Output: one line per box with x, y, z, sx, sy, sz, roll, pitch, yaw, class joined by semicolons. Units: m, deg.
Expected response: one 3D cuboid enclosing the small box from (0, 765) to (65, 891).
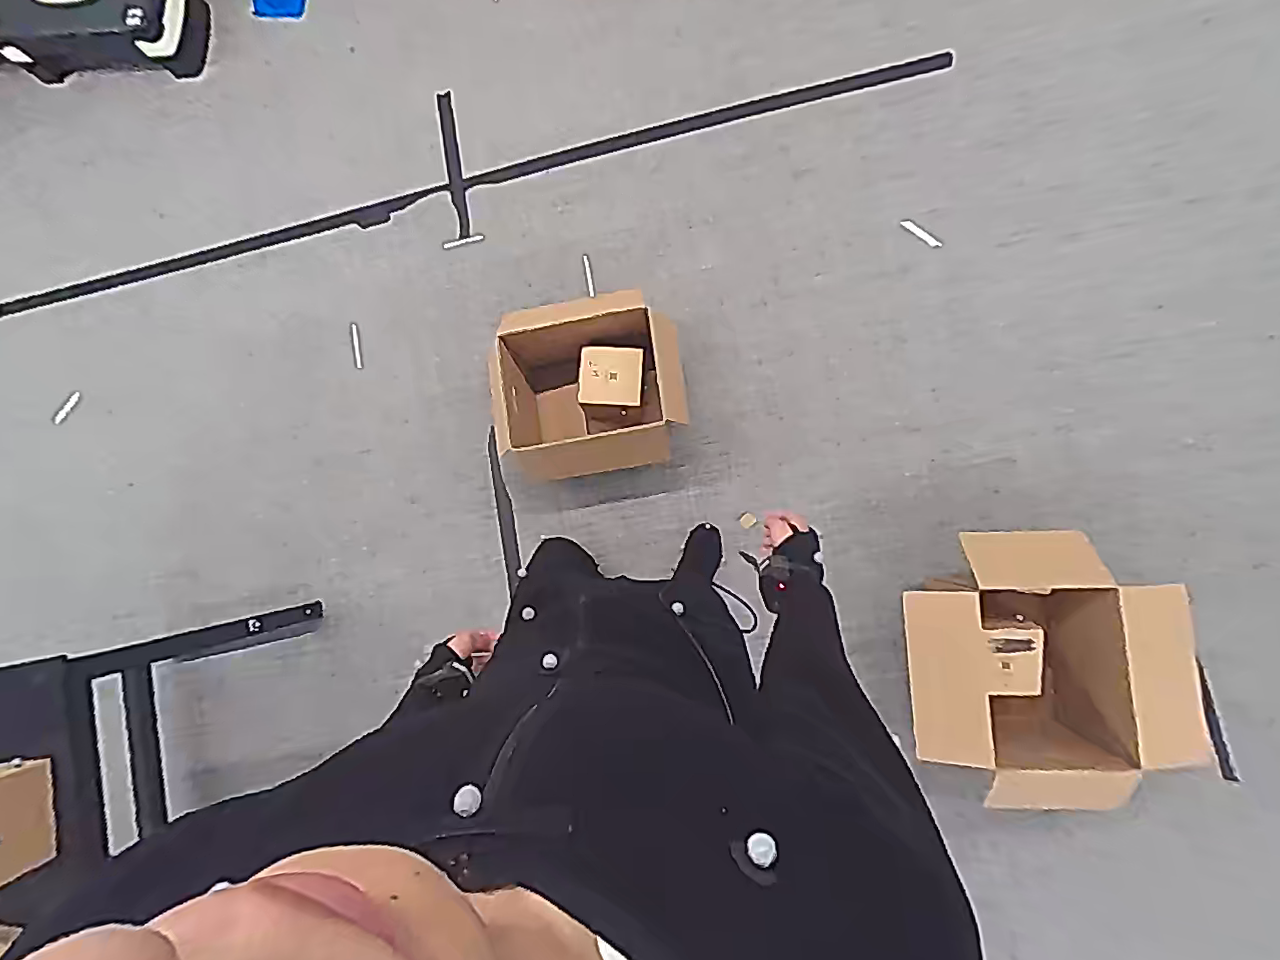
-1.141;0.606;0.914;0.168;0.176;0.179;-10;86;6;small box

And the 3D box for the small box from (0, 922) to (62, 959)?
-1.125;0.885;0.896;0.168;0.176;0.179;2;87;7;small box
